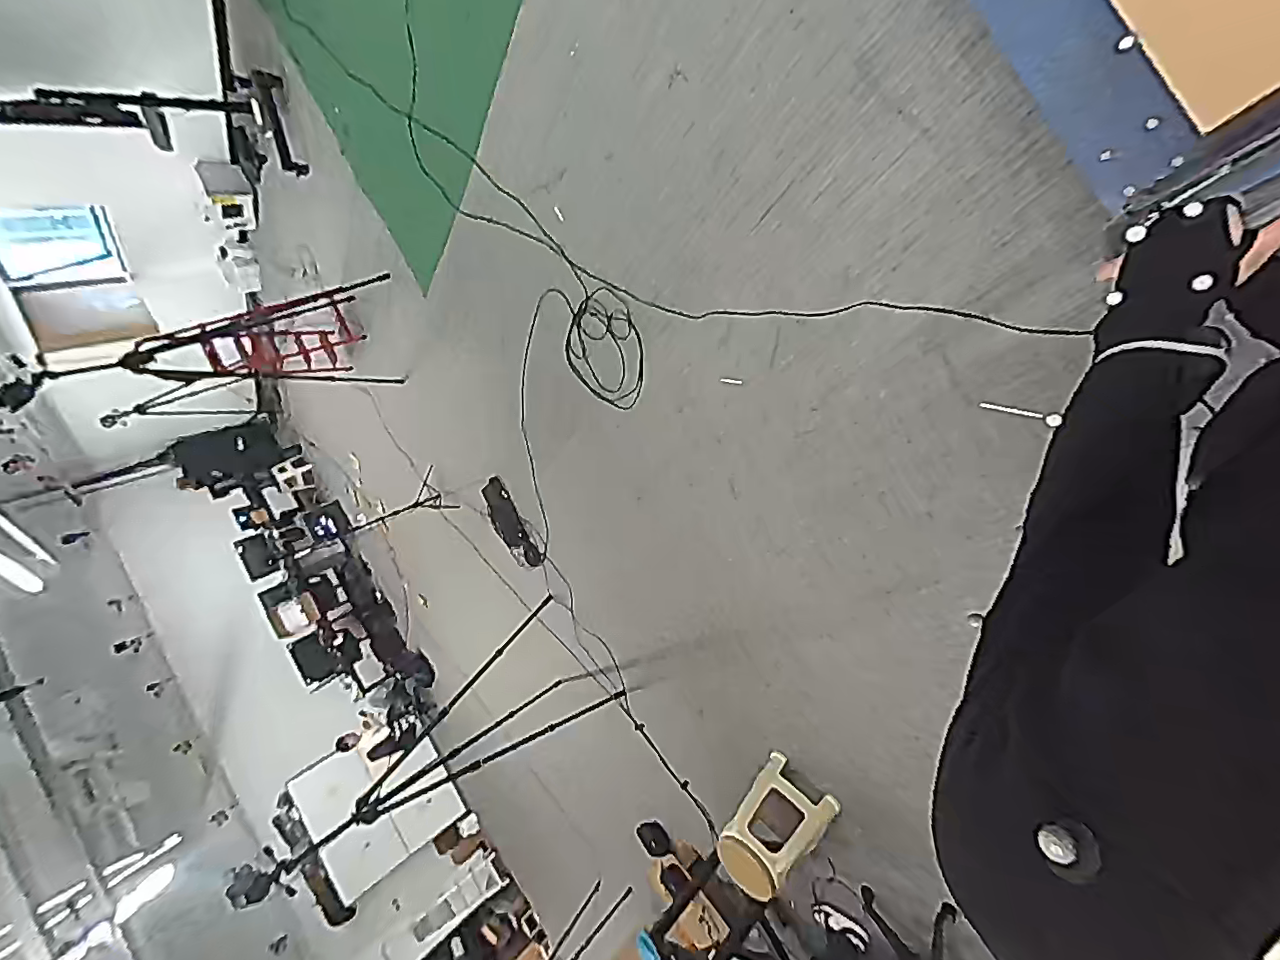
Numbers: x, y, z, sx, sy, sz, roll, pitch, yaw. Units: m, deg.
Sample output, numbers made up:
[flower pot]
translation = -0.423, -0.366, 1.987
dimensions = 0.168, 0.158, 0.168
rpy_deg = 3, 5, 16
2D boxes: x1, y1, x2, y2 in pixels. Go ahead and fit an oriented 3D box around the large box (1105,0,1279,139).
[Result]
[large box]
translation = 0.850, -0.743, 0.719
dimensions = 0.320, 0.320, 0.408
rpy_deg = -34, 83, 50
